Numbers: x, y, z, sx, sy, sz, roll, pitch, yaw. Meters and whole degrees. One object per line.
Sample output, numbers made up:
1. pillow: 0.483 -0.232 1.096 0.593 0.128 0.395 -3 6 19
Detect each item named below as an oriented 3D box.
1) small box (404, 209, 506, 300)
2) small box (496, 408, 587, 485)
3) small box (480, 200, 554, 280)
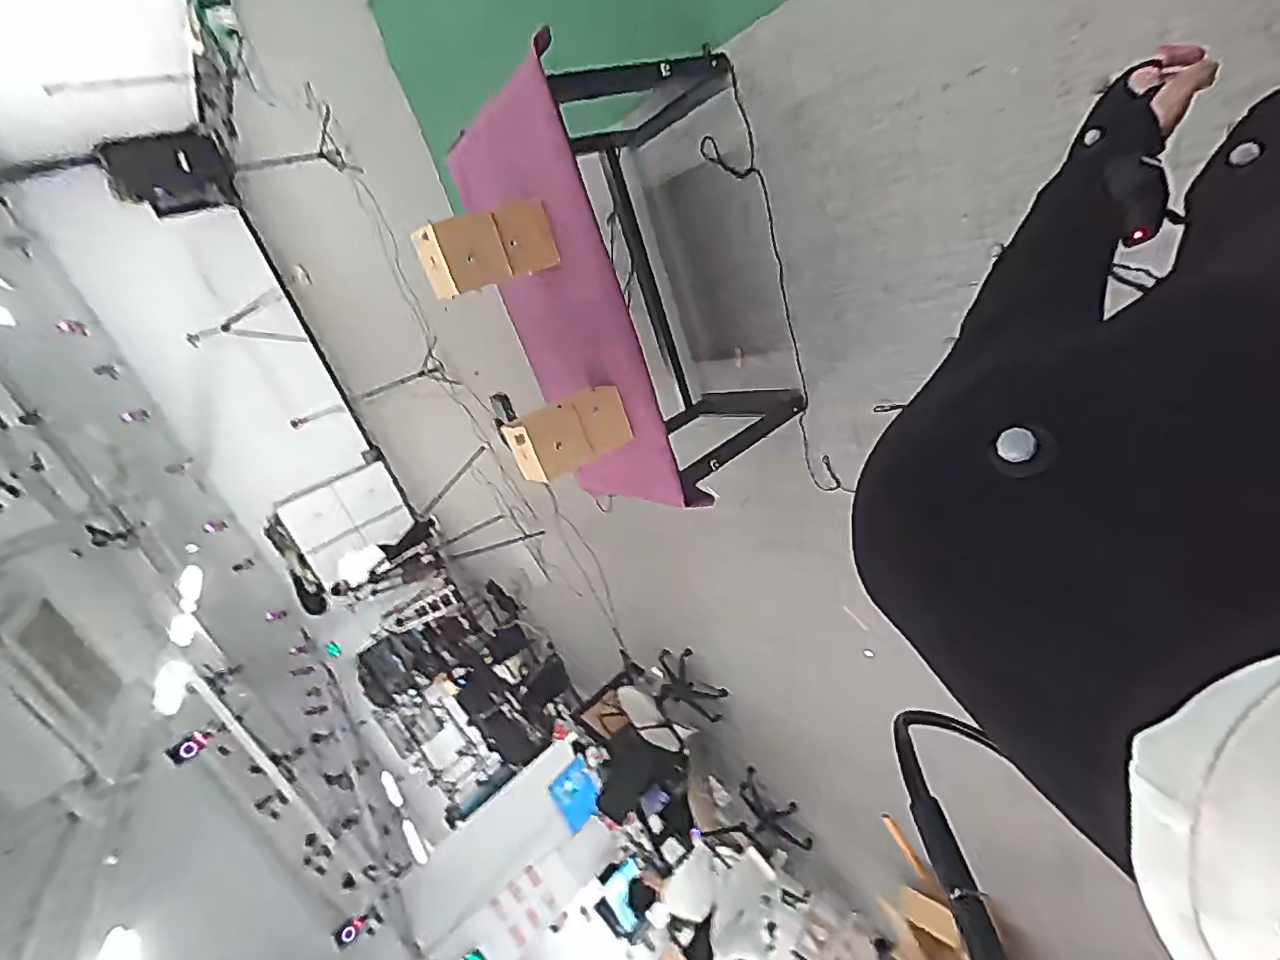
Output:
1. small box: -0.480 -0.590 1.421 0.168 0.176 0.179 15 131 48
2. small box: -0.283 -0.103 1.576 0.168 0.176 0.179 6 122 53
3. small box: -0.369 -0.669 1.513 0.168 0.176 0.179 15 130 48
